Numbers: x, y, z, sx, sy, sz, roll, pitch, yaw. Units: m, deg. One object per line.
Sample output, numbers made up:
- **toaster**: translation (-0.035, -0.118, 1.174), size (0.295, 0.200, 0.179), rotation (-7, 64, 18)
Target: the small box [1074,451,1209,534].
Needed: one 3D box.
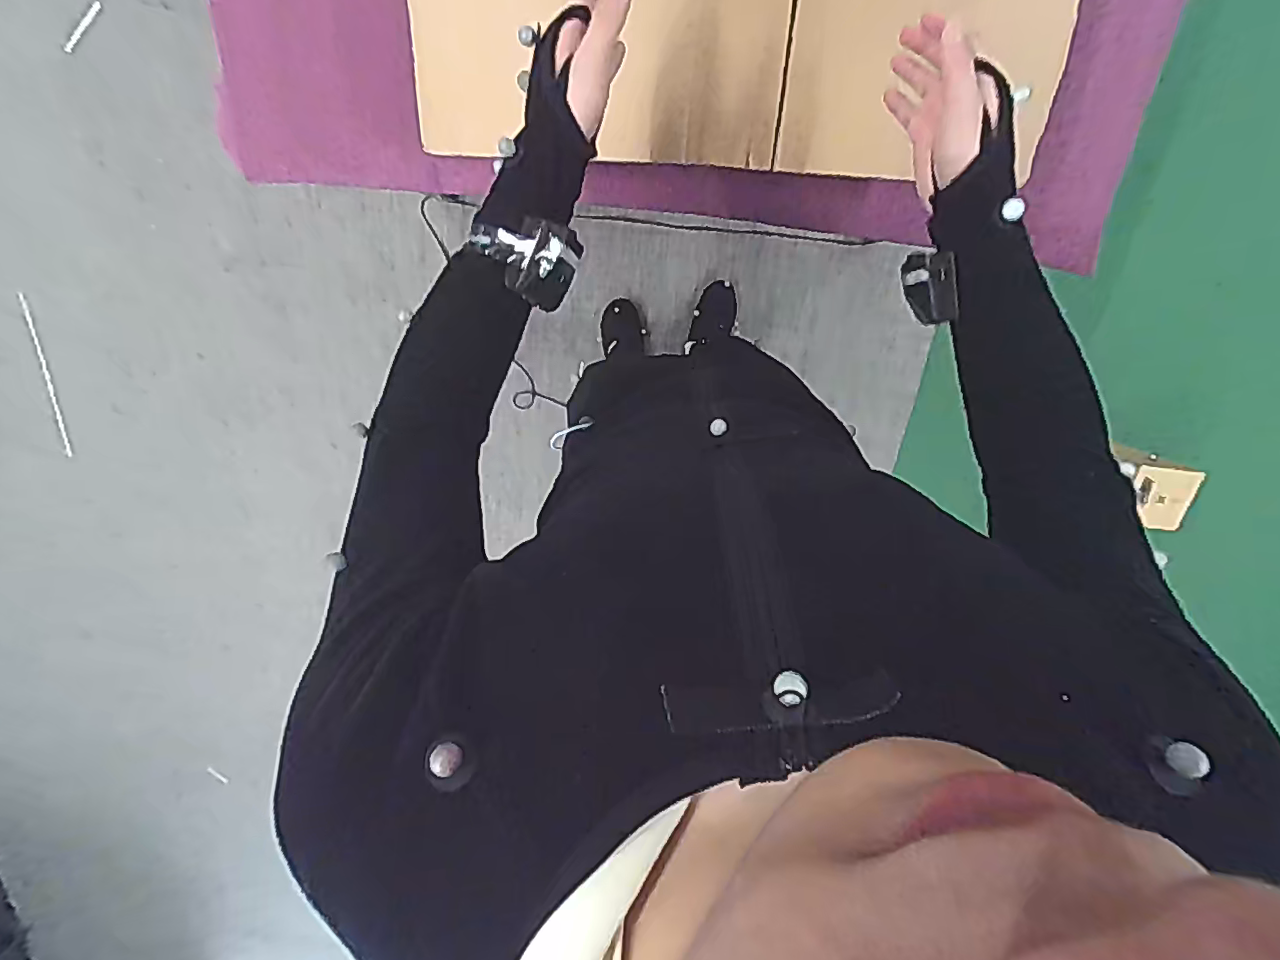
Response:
- **small box**: translation (1.328, 0.027, 1.449), size (0.179, 0.176, 0.168), rotation (6, 111, -4)

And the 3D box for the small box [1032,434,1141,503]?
- **small box**: translation (1.326, -0.030, 1.602), size (0.179, 0.176, 0.168), rotation (6, 110, -3)
